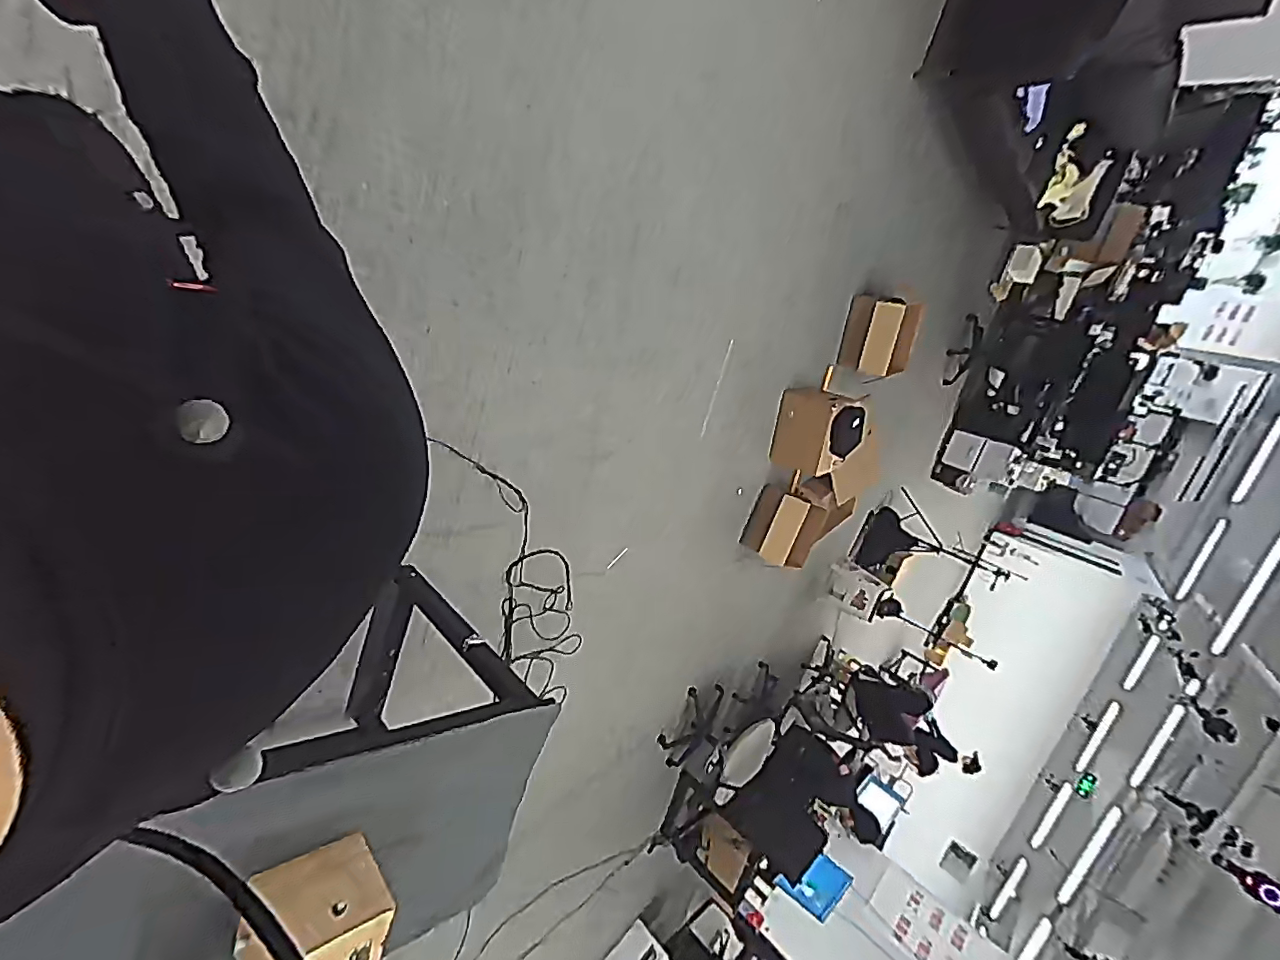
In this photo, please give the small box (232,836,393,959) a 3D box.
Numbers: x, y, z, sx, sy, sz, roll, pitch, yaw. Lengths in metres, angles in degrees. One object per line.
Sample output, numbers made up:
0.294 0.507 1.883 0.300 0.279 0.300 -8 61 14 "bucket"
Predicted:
-0.552 0.752 0.909 0.179 0.176 0.168 4 109 -49 "small box"
